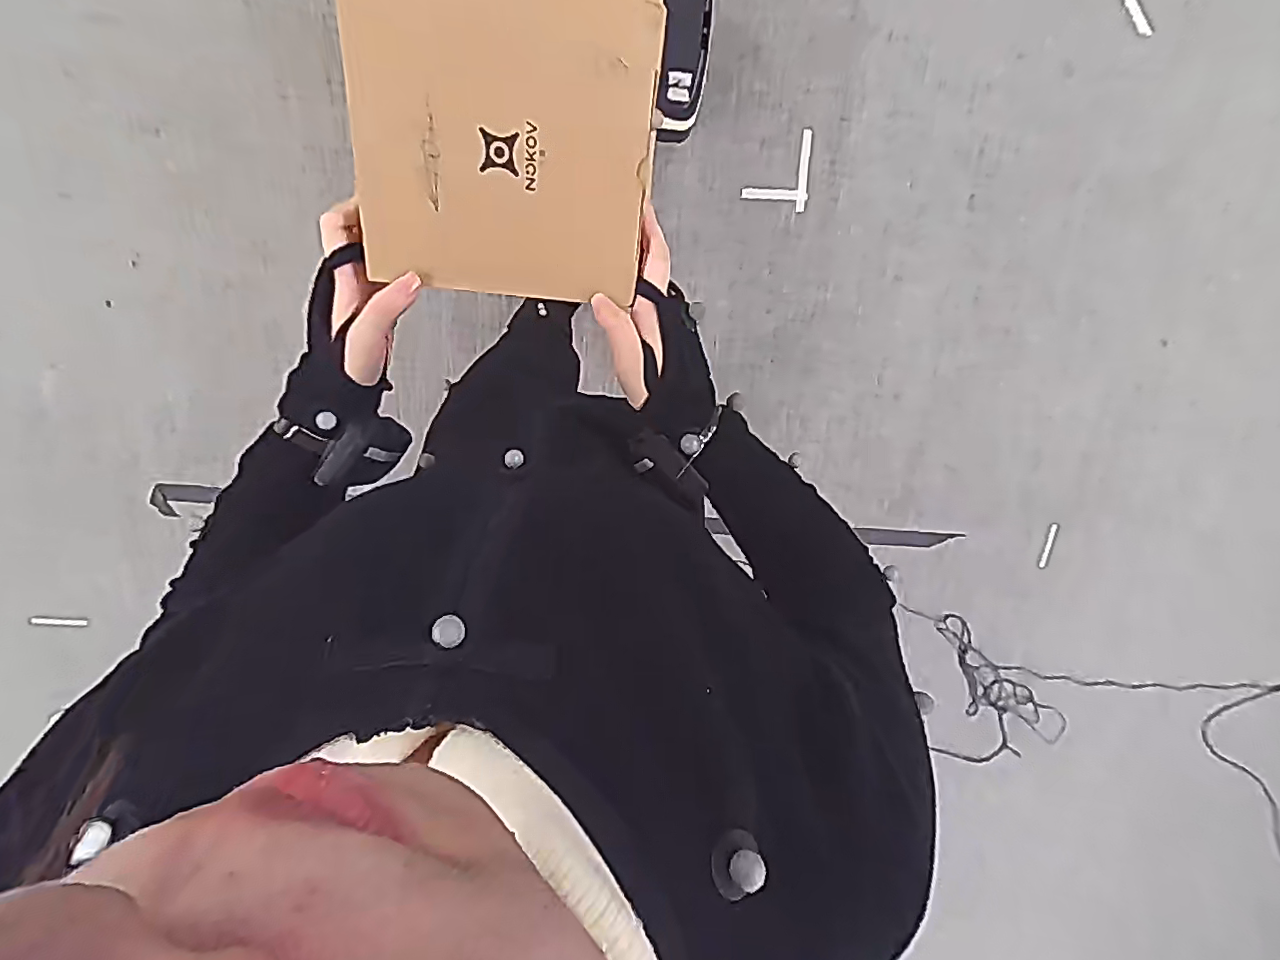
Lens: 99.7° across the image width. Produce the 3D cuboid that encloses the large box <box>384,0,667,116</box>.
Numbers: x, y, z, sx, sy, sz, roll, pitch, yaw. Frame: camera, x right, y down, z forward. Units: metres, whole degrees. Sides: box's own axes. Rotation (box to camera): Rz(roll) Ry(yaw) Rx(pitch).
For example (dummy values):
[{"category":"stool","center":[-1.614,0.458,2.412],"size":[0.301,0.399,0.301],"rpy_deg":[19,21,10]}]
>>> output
[{"category":"large box","center":[-0.163,-0.814,0.873],"size":[0.408,0.320,0.320],"rpy_deg":[1,107,-2]}]
